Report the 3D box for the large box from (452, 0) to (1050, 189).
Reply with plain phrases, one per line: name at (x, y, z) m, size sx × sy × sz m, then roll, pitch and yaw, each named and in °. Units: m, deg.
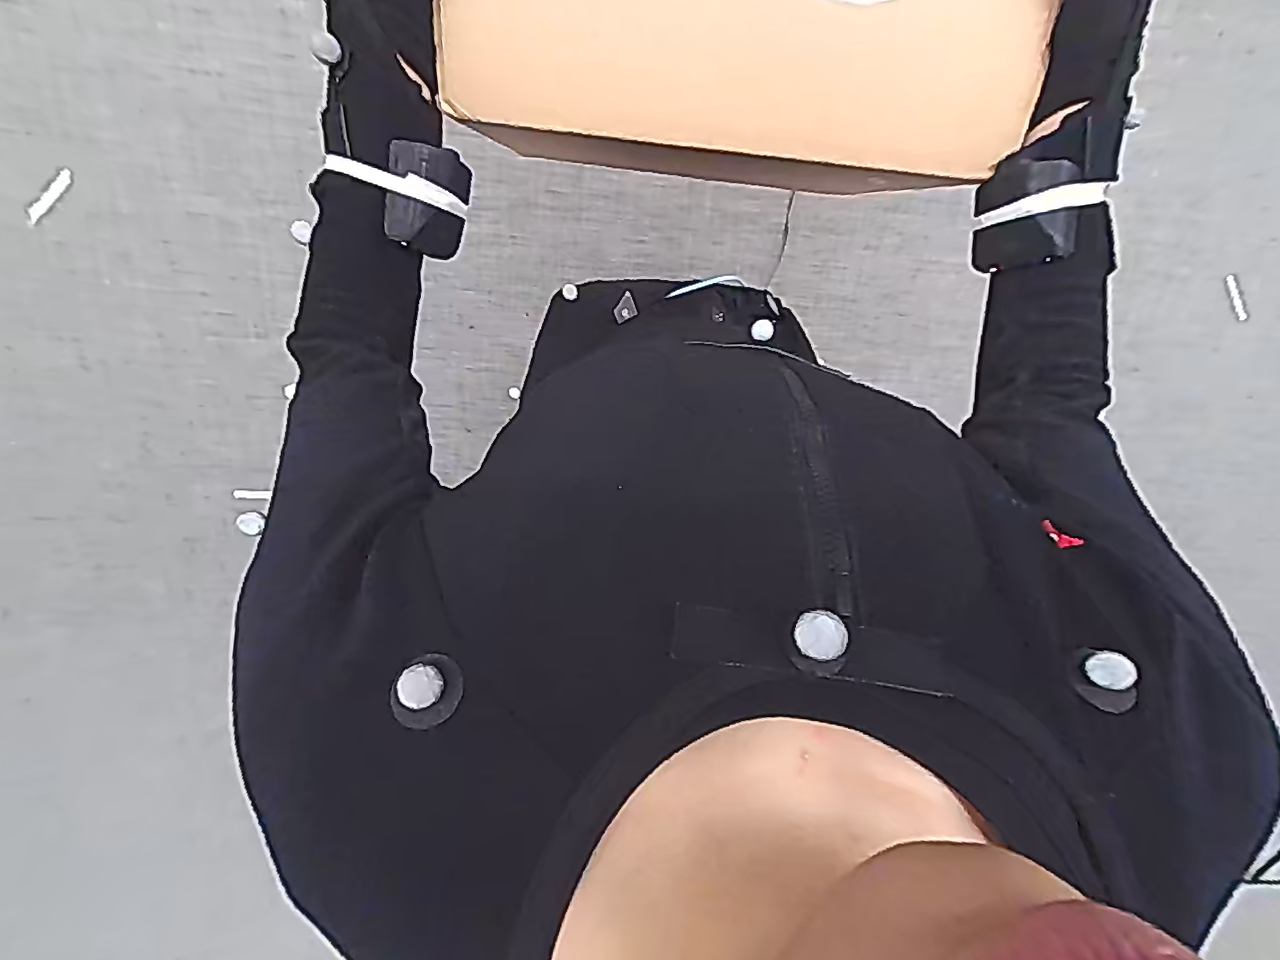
large box at (0.074, -0.443, 0.458) m, size 0.408 × 0.320 × 0.320 m, roll 4°, pitch 118°, yaw -5°
